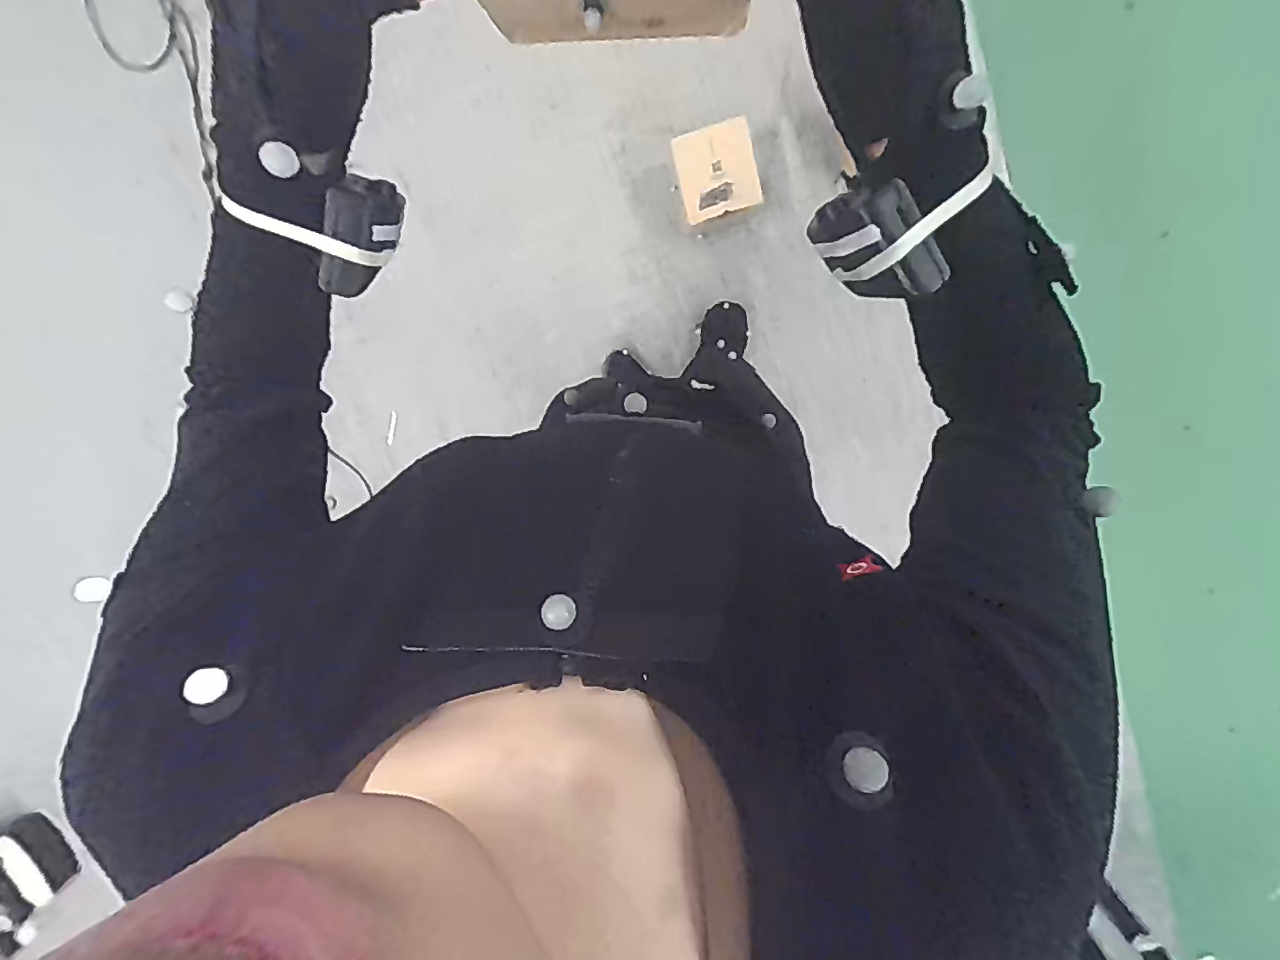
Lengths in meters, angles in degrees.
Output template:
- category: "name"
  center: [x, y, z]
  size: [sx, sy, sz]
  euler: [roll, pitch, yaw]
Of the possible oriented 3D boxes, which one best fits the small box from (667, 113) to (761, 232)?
- category: "small box"
  center: [0.162, -0.672, 1.211]
  size: [0.168, 0.176, 0.179]
  euler: [-15, 104, 6]
